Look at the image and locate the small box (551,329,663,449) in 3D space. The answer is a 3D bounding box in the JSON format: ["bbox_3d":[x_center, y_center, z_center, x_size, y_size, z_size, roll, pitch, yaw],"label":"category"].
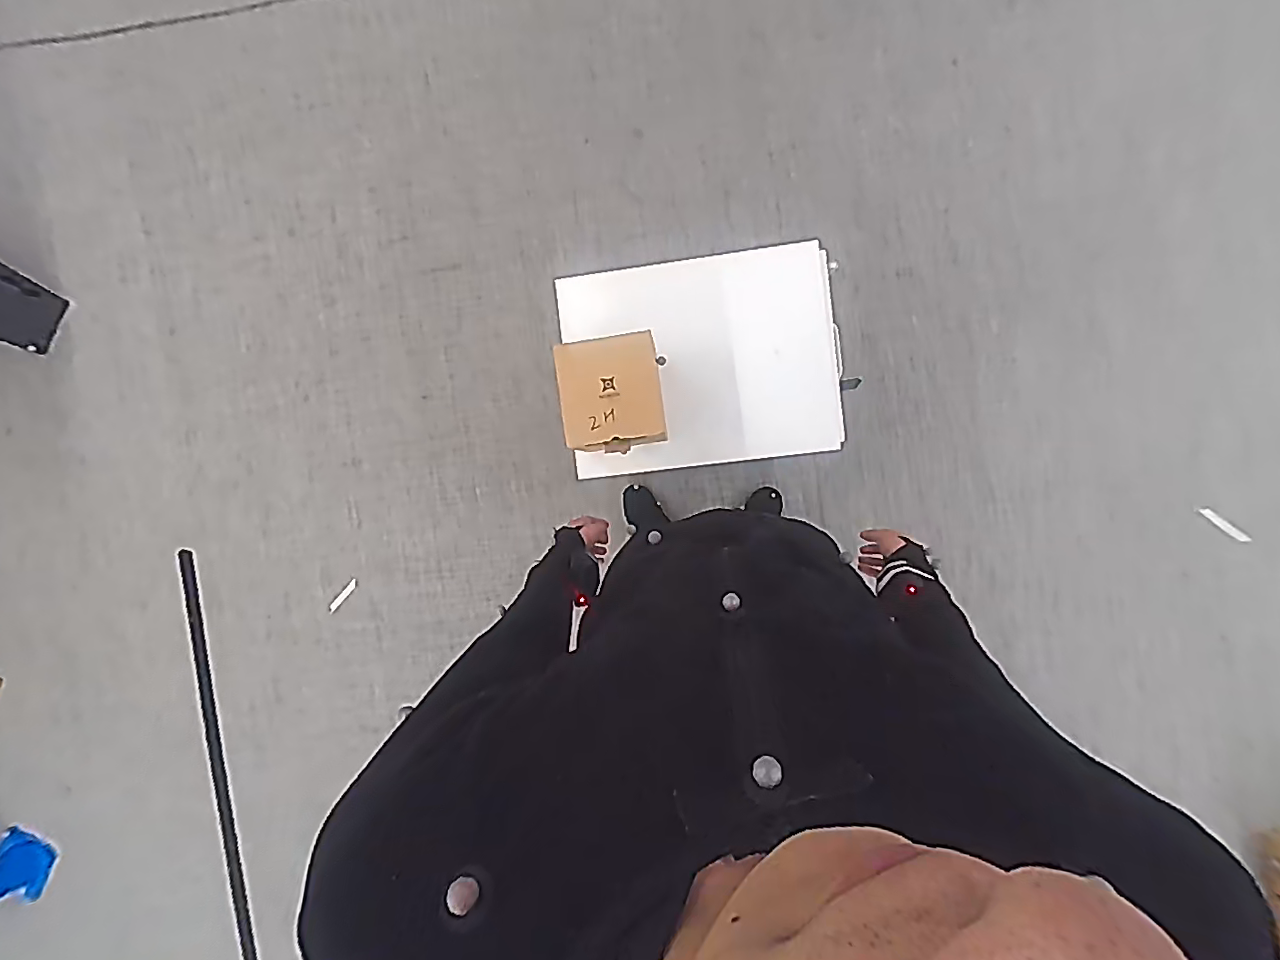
[{"bbox_3d":[-0.051,-0.153,0.963,0.168,0.176,0.179,-7,91,5],"label":"small box"}]
